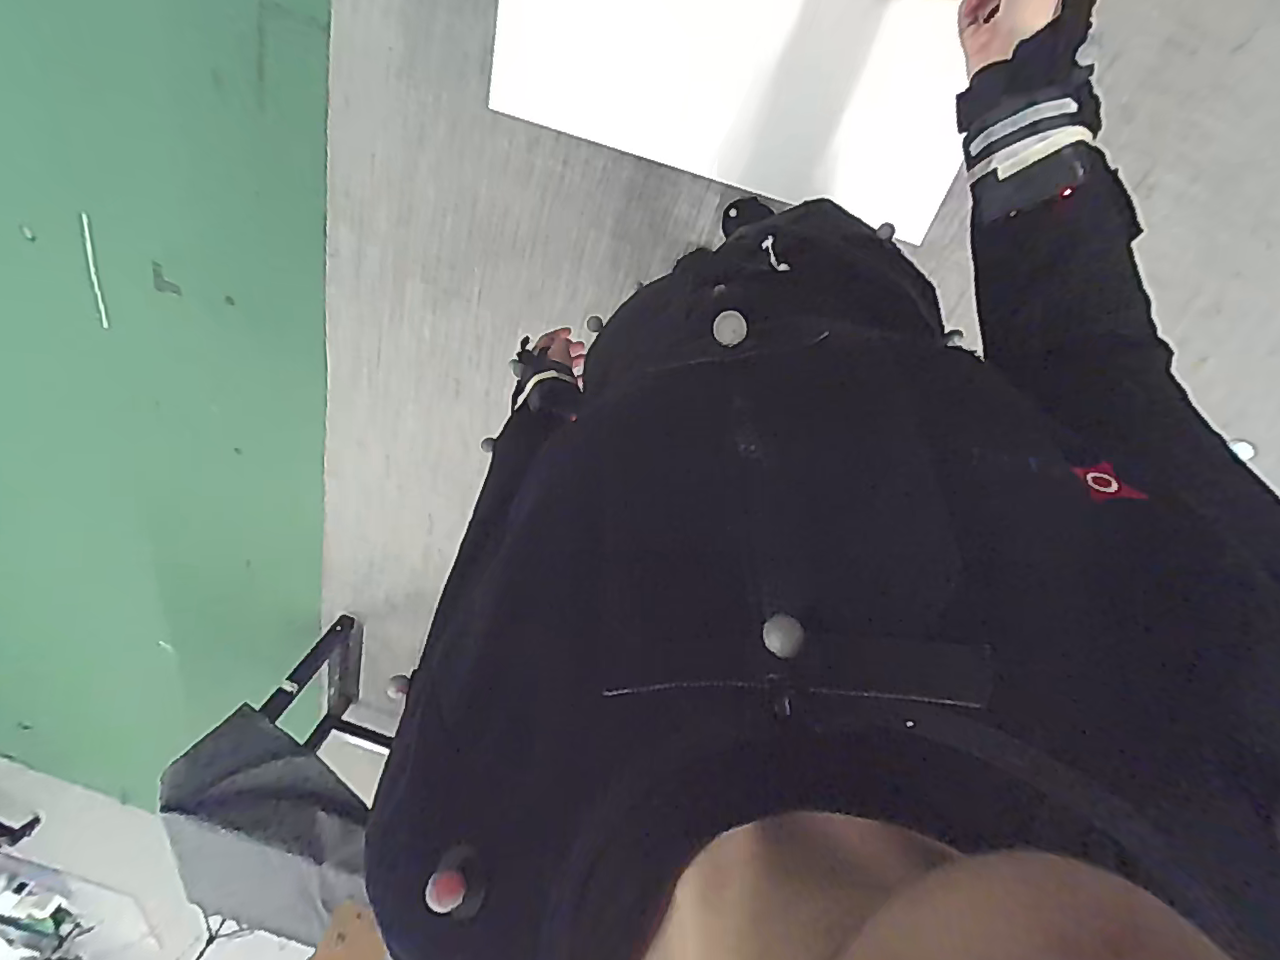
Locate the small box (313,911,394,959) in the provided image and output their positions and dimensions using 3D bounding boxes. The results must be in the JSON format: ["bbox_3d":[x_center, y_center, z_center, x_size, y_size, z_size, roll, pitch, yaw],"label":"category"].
[{"bbox_3d":[-0.785,1.296,1.443,0.168,0.176,0.179,25,122,-3],"label":"small box"}]
